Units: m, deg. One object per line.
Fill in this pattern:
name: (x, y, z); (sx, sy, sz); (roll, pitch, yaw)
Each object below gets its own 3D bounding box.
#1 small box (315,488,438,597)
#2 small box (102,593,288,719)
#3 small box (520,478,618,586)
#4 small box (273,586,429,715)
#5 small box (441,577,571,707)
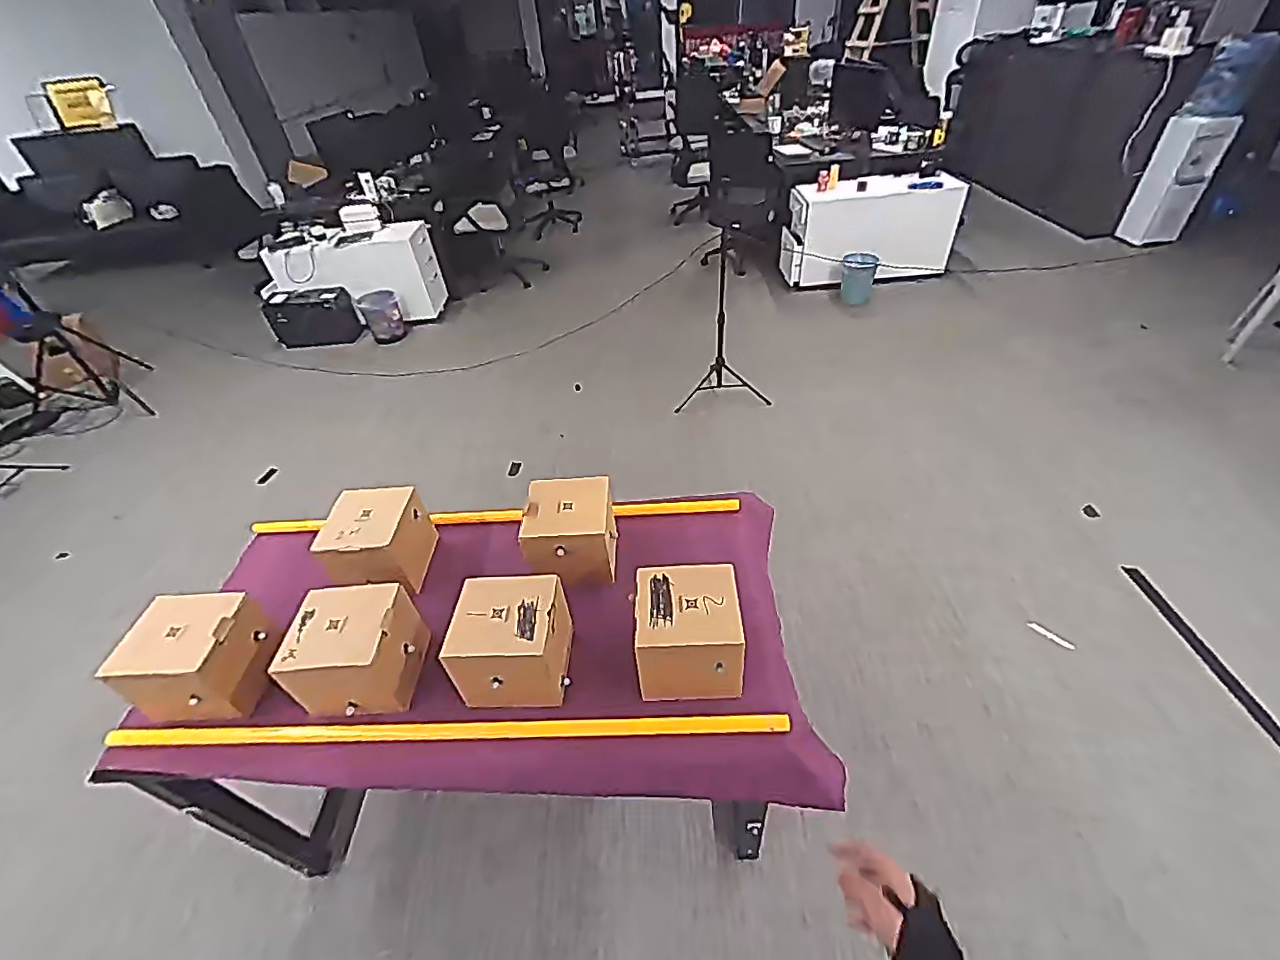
small box: (-0.565, 0.139, 1.192); (0.168, 0.176, 0.179); (-3, 43, 4)
small box: (-0.805, 0.328, 1.007); (0.179, 0.176, 0.168); (-2, 41, 1)
small box: (-0.143, 0.115, 1.169); (0.179, 0.176, 0.168); (-4, 42, 4)
small box: (-0.511, 0.313, 0.991); (0.179, 0.176, 0.168); (-4, 41, 1)
small box: (-0.228, 0.293, 0.976); (0.179, 0.176, 0.168); (-3, 39, 4)
